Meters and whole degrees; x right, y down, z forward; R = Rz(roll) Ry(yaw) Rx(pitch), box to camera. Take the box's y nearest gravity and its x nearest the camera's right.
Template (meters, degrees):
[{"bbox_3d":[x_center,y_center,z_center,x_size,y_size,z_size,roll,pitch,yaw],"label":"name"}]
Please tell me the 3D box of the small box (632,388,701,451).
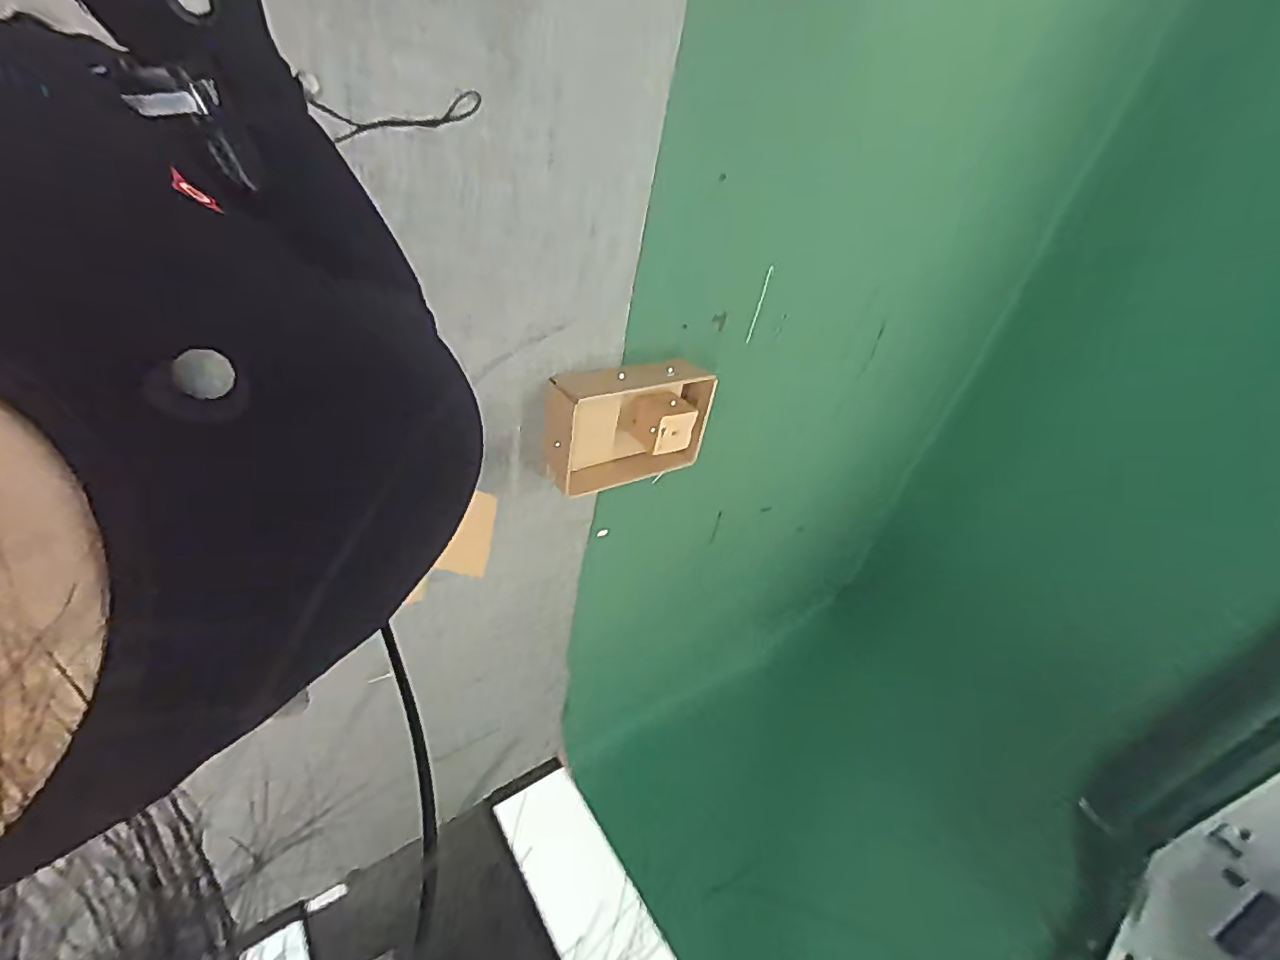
[{"bbox_3d":[0.098,-0.236,2.045,0.179,0.176,0.168,-15,133,-34],"label":"small box"}]
